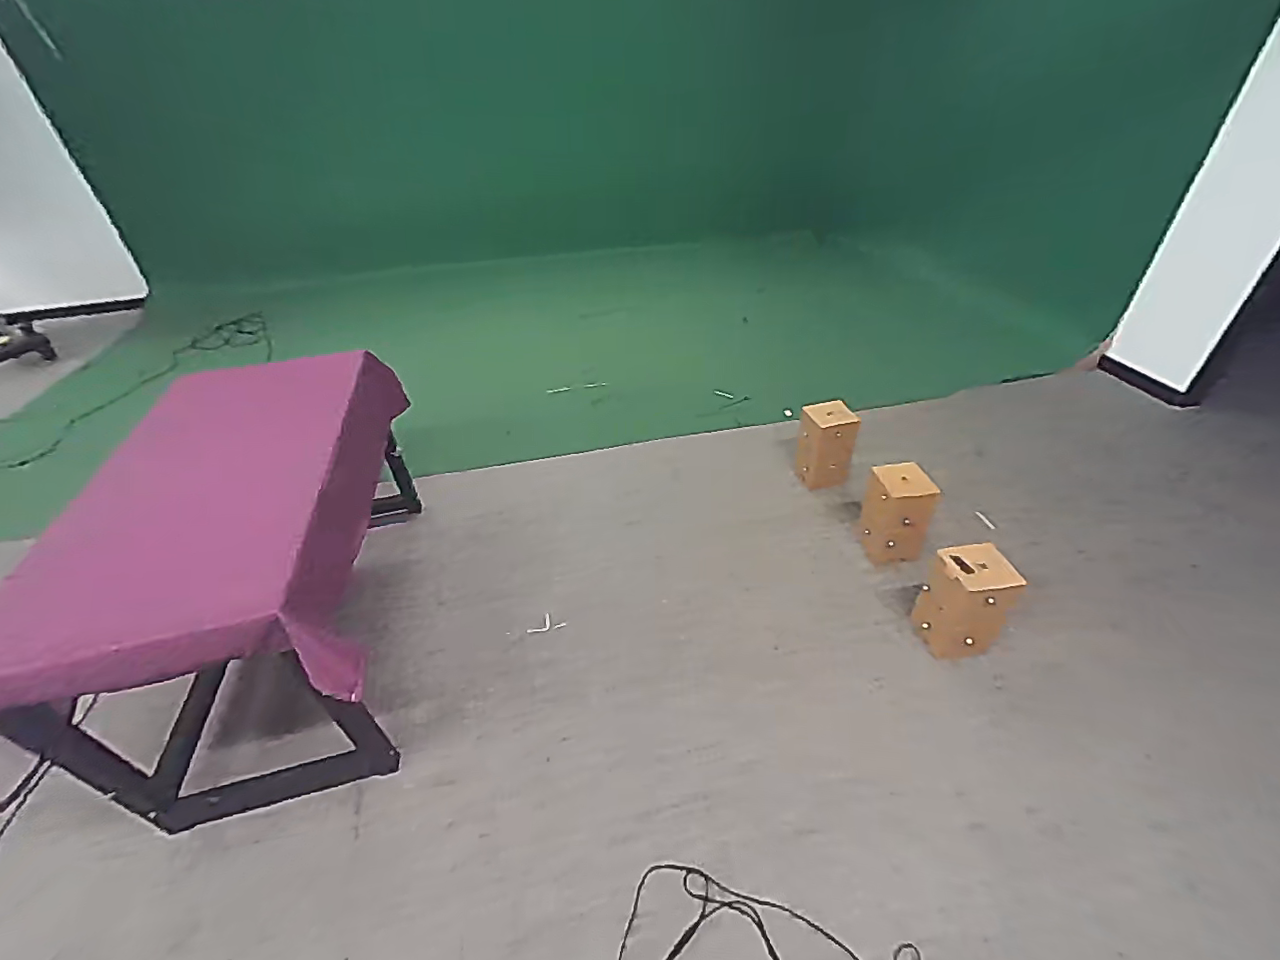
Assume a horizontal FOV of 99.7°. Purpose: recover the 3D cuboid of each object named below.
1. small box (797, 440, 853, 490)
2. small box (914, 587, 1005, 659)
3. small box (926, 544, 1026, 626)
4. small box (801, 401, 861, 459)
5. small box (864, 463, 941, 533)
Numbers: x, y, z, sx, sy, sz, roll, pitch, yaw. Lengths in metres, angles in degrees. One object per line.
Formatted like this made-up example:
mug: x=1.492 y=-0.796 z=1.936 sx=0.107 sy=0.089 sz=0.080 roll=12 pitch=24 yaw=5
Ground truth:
small box: x=0.797 y=-0.075 z=2.351 sx=0.179 sy=0.176 sz=0.168 roll=-10 pitch=40 yaw=-8
small box: x=0.986 y=0.441 z=1.694 sx=0.179 sy=0.176 sz=0.168 roll=-8 pitch=39 yaw=-4
small box: x=0.973 y=0.312 z=1.591 sx=0.179 sy=0.176 sz=0.168 roll=-6 pitch=39 yaw=-4
small box: x=0.785 y=-0.204 z=2.249 sx=0.179 sy=0.176 sz=0.168 roll=-11 pitch=41 yaw=-9
small box: x=0.915 y=0.064 z=1.906 sx=0.168 sy=0.176 sz=0.179 roll=-6 pitch=39 yaw=-4
